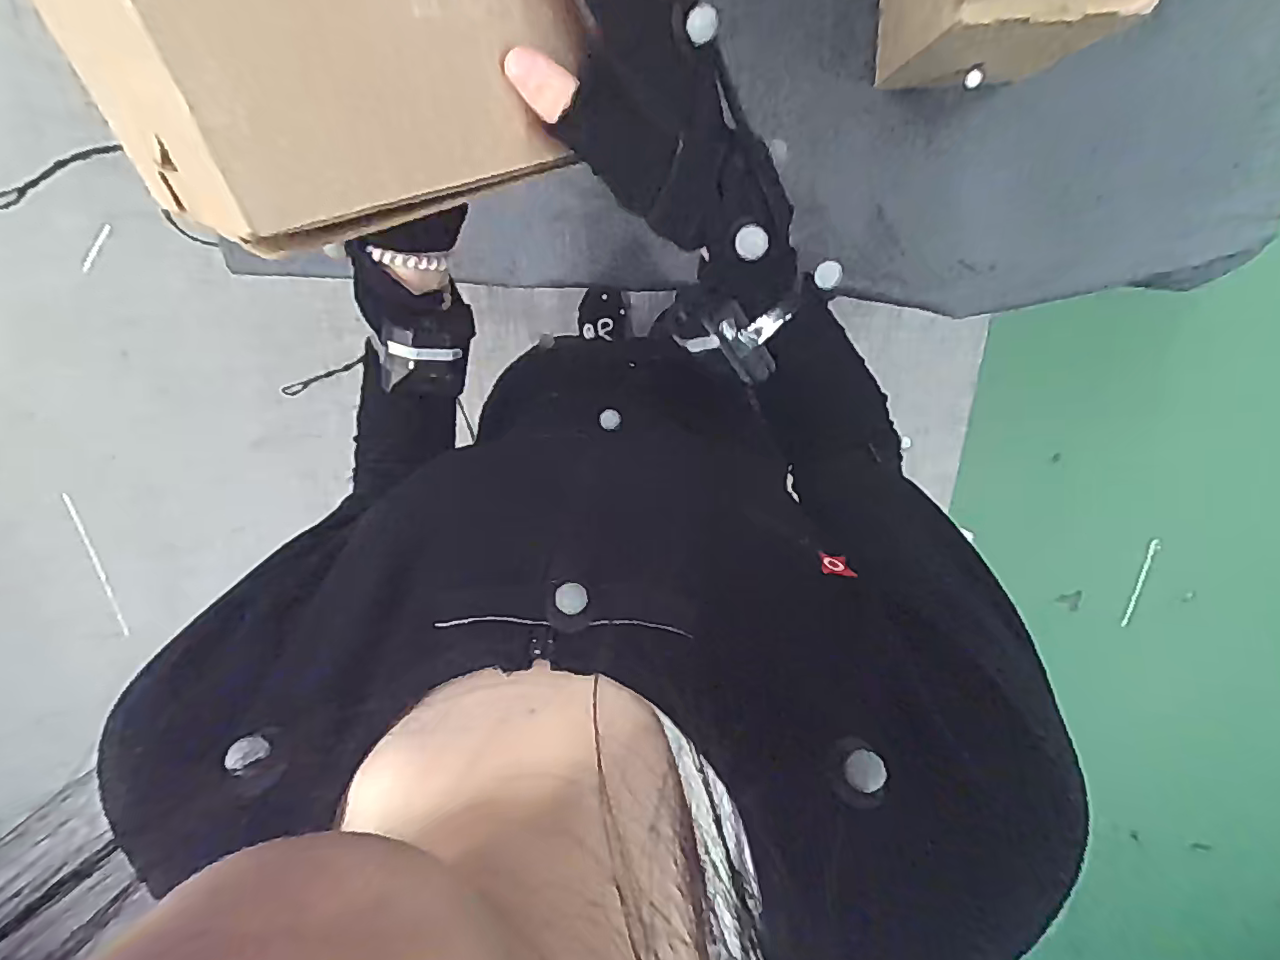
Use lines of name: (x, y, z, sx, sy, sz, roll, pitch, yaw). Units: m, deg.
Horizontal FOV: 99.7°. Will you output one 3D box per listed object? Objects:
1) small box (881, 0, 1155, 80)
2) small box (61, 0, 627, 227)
small box: (0.339, -0.497, 0.490, 0.168, 0.176, 0.179, -3, 111, 0)
small box: (-0.130, -0.219, 0.216, 0.179, 0.168, 0.176, -36, 138, -30)
